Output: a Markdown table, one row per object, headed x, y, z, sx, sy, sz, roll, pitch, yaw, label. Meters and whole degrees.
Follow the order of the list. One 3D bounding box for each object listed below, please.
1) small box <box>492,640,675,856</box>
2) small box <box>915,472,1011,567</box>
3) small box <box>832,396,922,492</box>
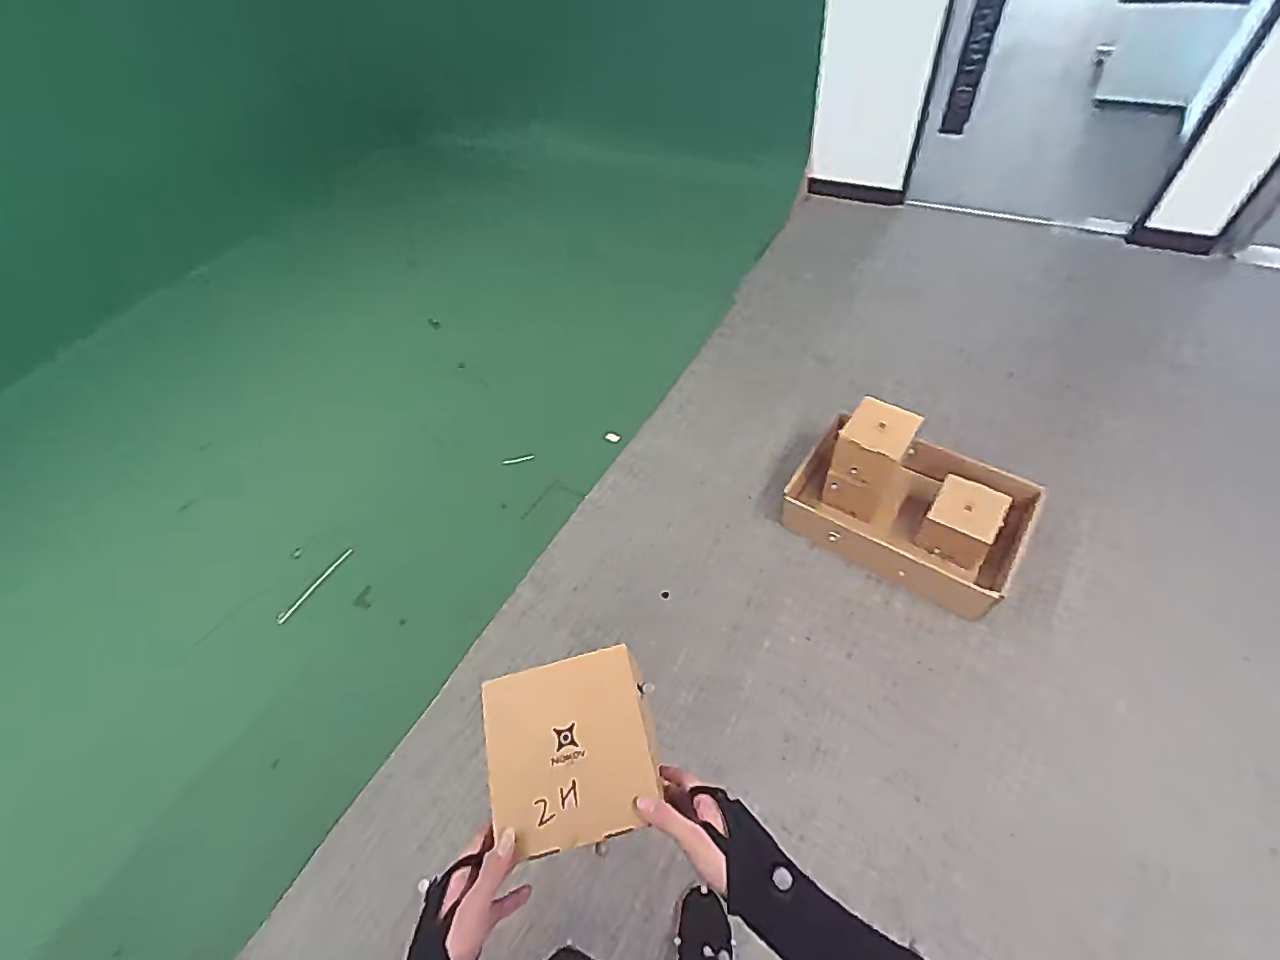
| x | y | z | sx | sy | sz | roll | pitch | yaw | label |
| --- | --- | --- | --- | --- | --- | --- | --- | --- | --- |
| -0.060 | 0.306 | 0.621 | 0.168 | 0.176 | 0.179 | -14 | 60 | 0 | small box |
| 0.912 | 0.115 | 1.542 | 0.168 | 0.176 | 0.179 | 27 | 64 | 27 | small box |
| 0.664 | -0.101 | 1.537 | 0.168 | 0.176 | 0.179 | 28 | 64 | 25 | small box |
